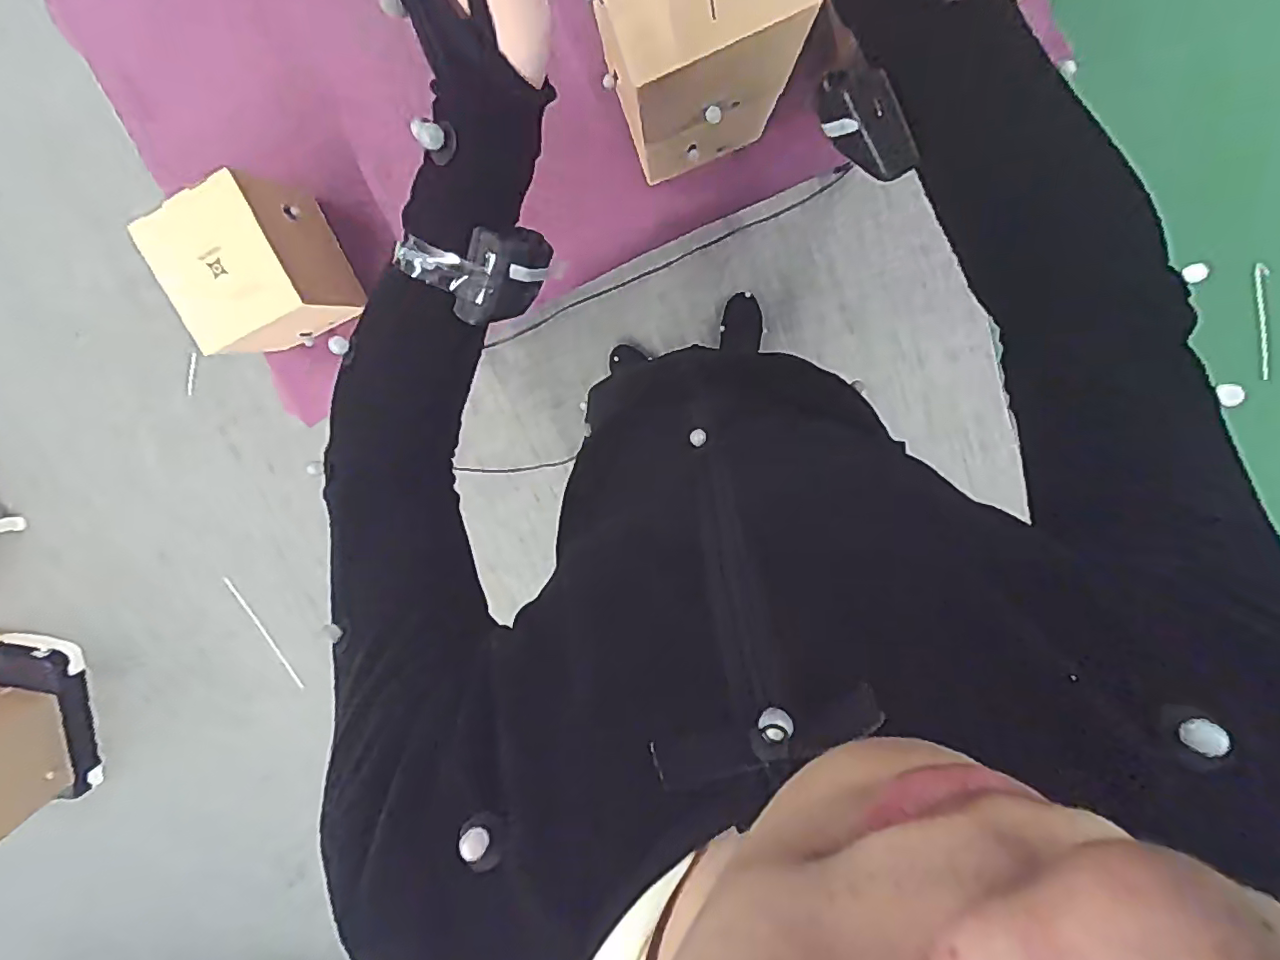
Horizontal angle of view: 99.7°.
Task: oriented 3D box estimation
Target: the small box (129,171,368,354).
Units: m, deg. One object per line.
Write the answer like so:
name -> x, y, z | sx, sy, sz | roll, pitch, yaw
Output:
small box -> -0.530, -0.291, 0.760 | 0.168, 0.176, 0.179 | -21, 104, 10

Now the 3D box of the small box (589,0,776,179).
small box -> 0.055, -0.497, 0.664 | 0.168, 0.176, 0.179 | -19, 103, 9

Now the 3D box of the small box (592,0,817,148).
small box -> 0.044, -0.454, 0.506 | 0.168, 0.176, 0.179 | -19, 104, 9
